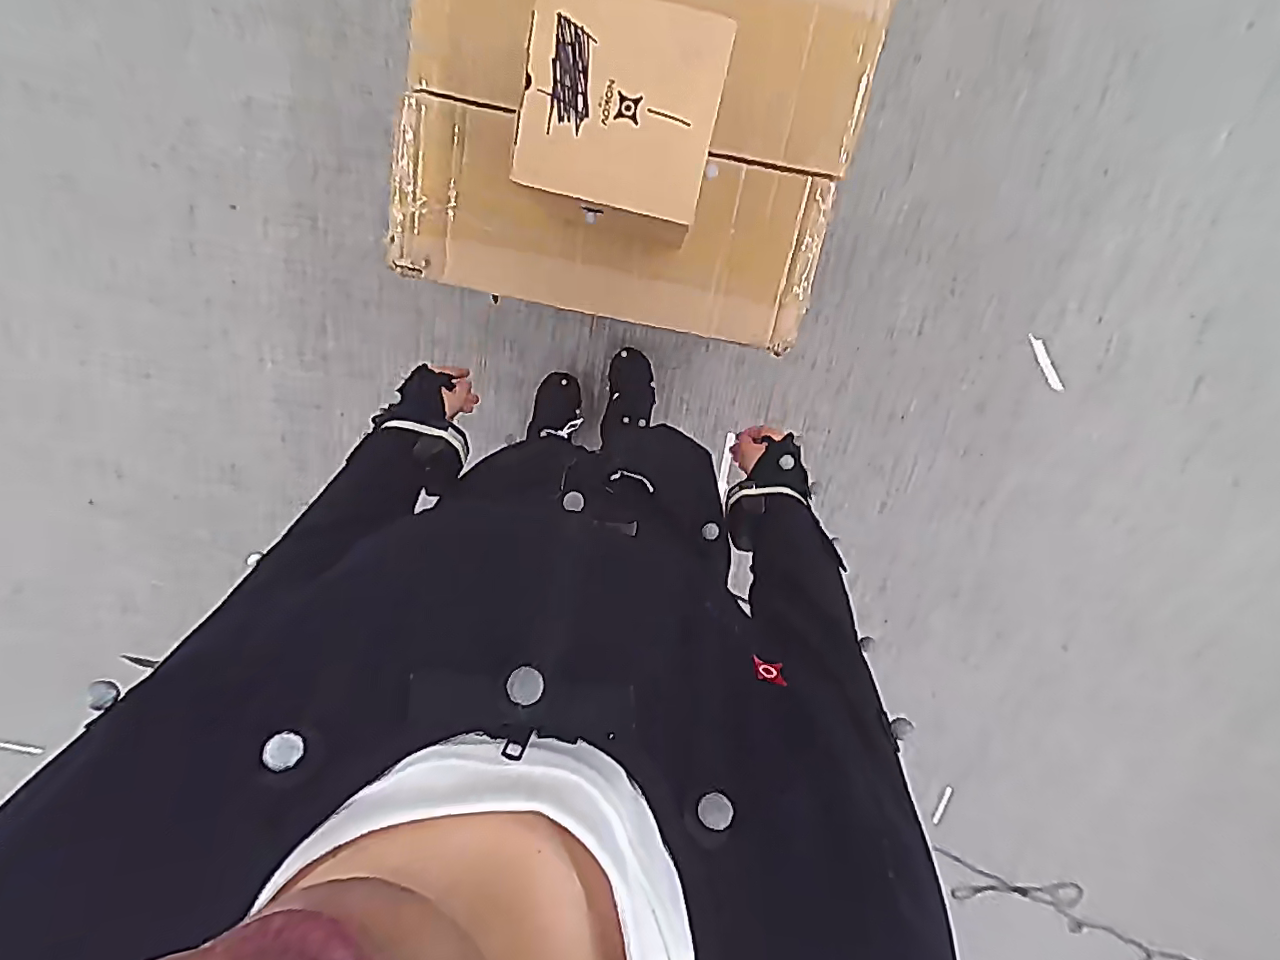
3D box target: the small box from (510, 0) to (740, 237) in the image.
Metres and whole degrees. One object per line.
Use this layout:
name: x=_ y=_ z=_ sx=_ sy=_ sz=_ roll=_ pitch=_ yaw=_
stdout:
small box: x=-0.015 y=-0.360 z=0.552 sx=0.179 sy=0.176 sz=0.168 roll=12 pitch=107 yaw=-3
